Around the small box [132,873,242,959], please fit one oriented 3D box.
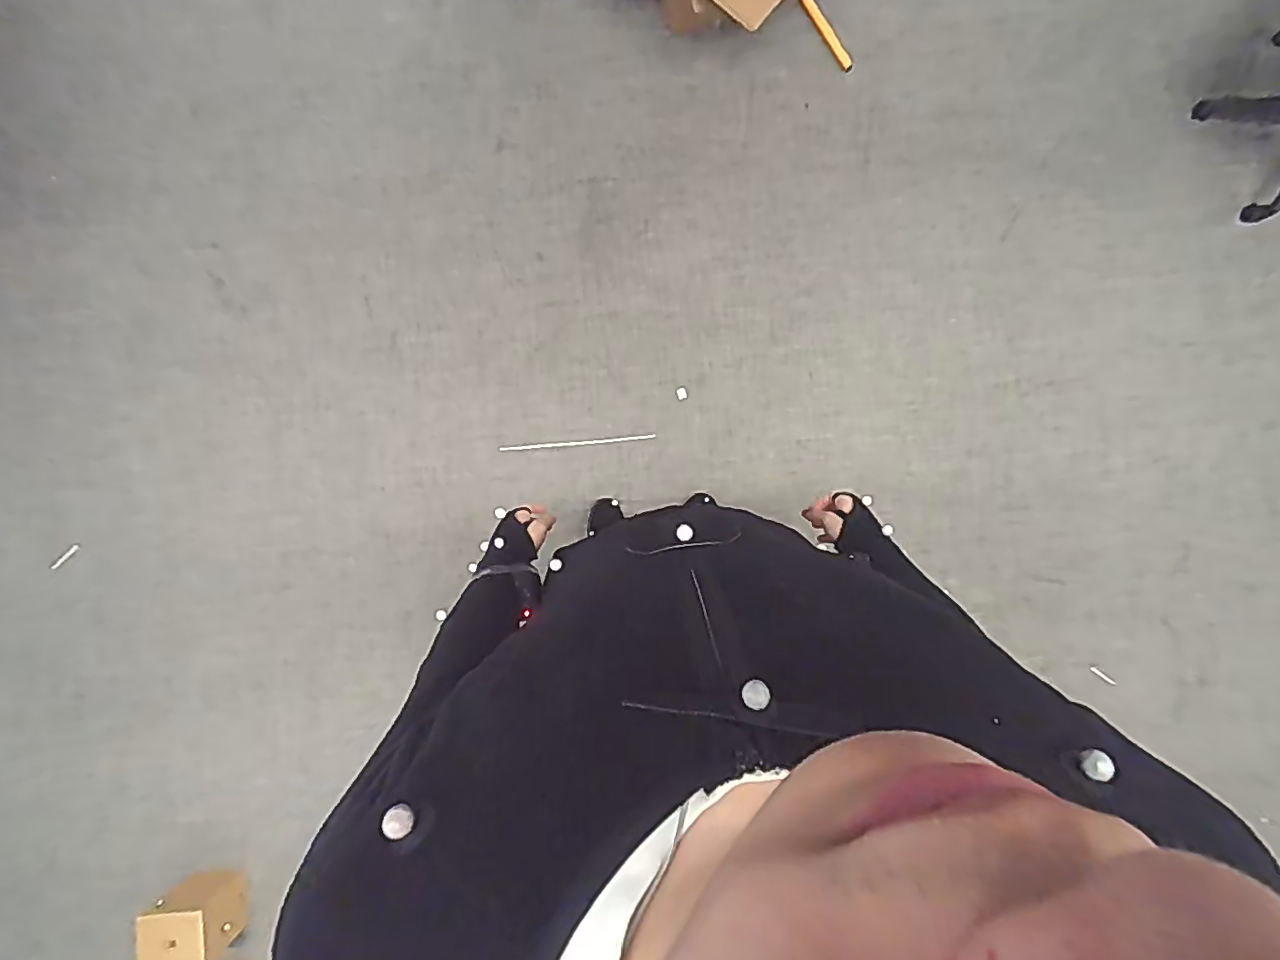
[{"bbox_3d":[-1.234,1.223,1.489,0.179,0.176,0.168,-5,88,-1],"label":"small box"}]
